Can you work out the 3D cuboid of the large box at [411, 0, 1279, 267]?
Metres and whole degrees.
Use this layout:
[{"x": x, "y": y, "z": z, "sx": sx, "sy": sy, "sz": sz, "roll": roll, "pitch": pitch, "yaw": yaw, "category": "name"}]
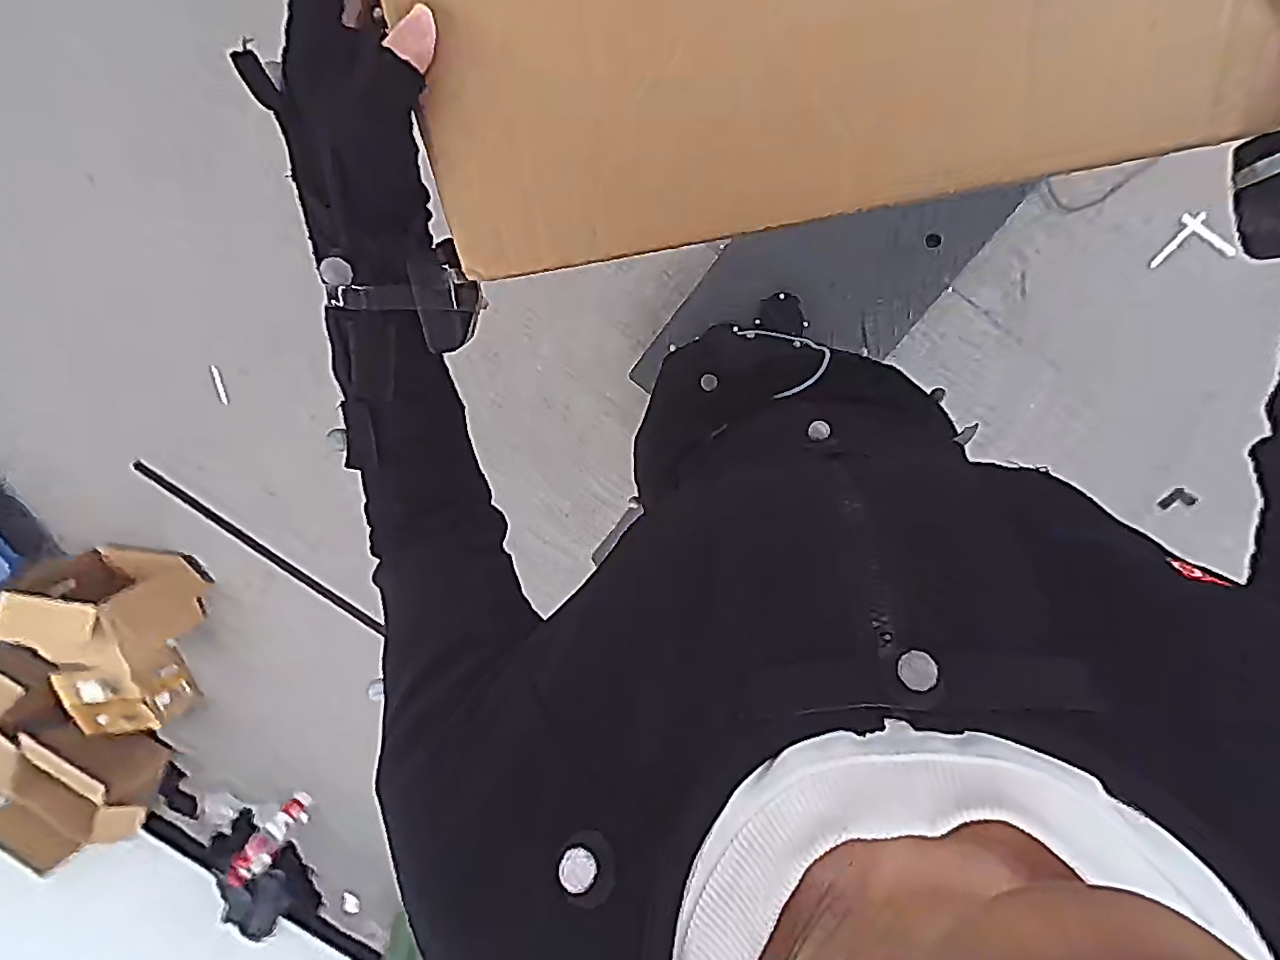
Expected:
[{"x": 0.087, "y": -0.350, "z": 0.363, "sx": 0.408, "sy": 0.320, "sz": 0.320, "roll": -7, "pitch": 115, "yaw": 9, "category": "large box"}]
